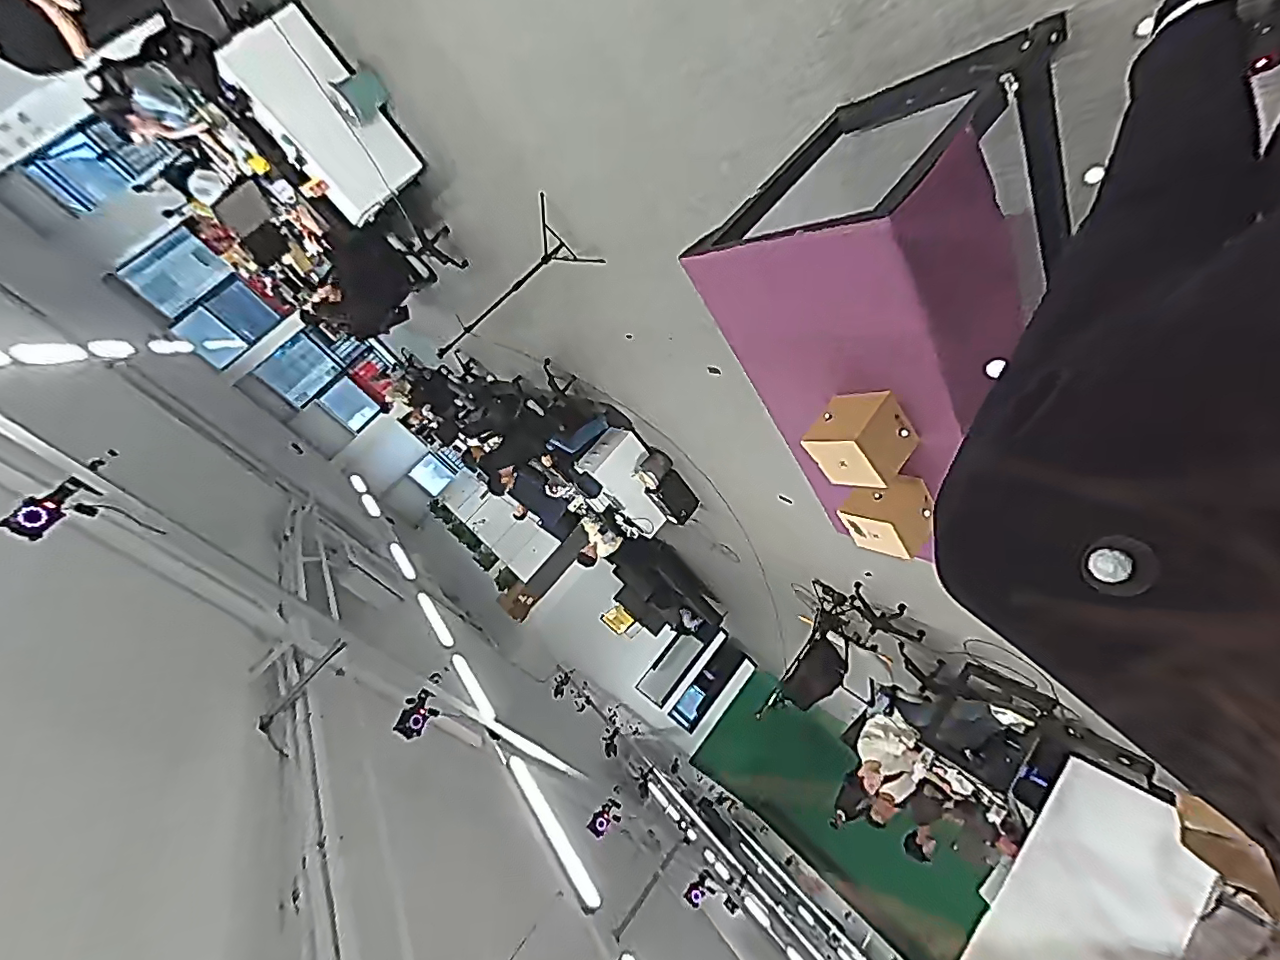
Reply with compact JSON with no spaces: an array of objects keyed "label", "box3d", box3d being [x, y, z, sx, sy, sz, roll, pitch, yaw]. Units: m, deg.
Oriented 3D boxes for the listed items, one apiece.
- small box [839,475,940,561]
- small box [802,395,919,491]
[{"label":"small box","box3d":[0.709,0.098,1.534,0.168,0.176,0.179,48,164,-28]},{"label":"small box","box3d":[0.553,-0.097,1.356,0.168,0.176,0.179,46,166,-22]}]
